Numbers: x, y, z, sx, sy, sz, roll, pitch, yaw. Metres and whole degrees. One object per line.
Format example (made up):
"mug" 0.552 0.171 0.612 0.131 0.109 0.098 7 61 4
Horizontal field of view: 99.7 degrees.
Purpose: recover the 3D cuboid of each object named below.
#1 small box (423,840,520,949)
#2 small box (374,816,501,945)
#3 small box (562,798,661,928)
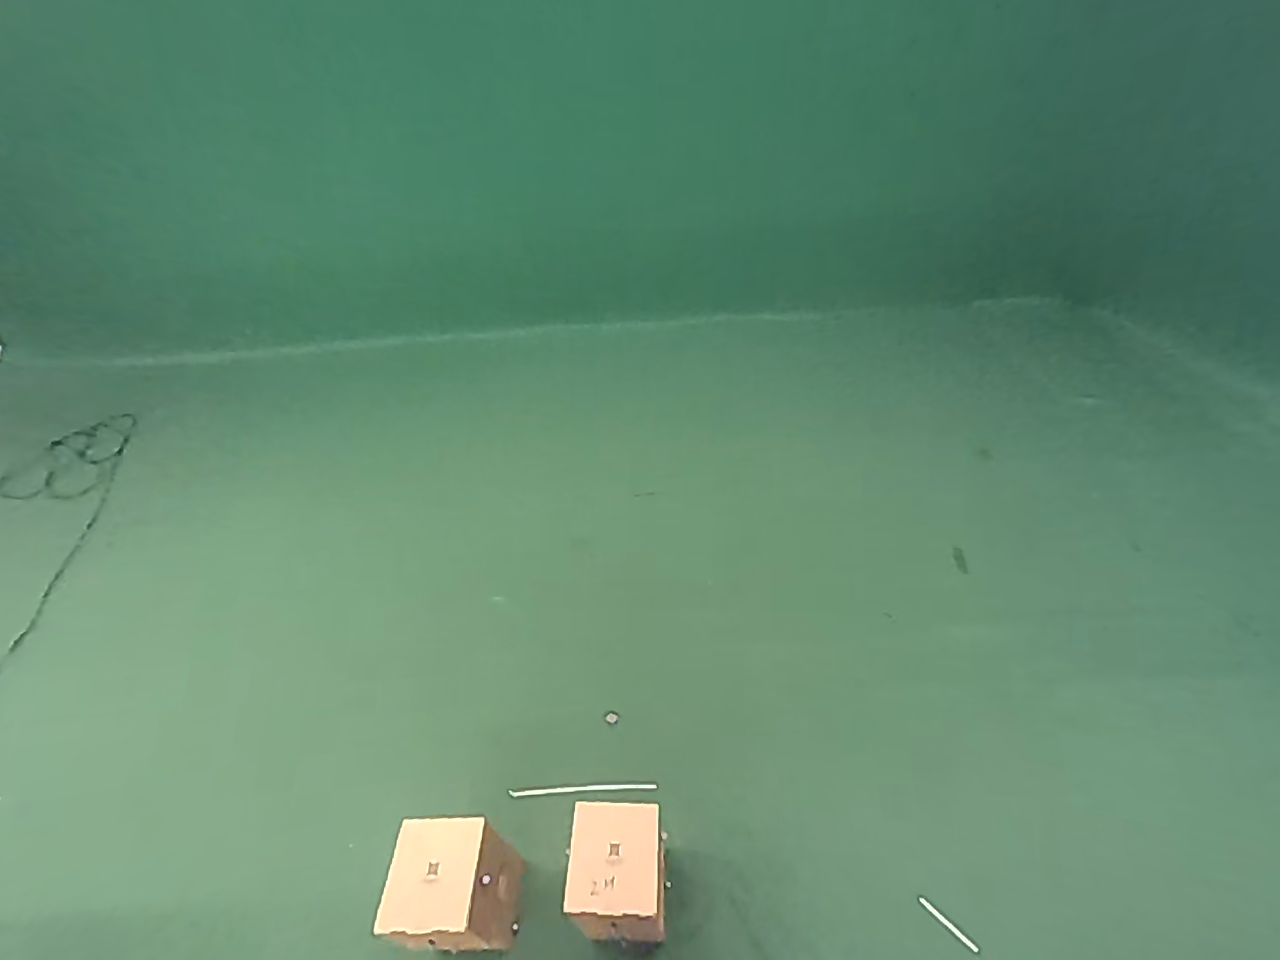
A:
"small box" -0.369 0.893 1.166 0.179 0.176 0.168 -4 43 3
"small box" -0.378 0.778 1.051 0.168 0.176 0.179 -3 44 2
"small box" -0.047 0.745 1.052 0.168 0.176 0.179 -1 45 5
